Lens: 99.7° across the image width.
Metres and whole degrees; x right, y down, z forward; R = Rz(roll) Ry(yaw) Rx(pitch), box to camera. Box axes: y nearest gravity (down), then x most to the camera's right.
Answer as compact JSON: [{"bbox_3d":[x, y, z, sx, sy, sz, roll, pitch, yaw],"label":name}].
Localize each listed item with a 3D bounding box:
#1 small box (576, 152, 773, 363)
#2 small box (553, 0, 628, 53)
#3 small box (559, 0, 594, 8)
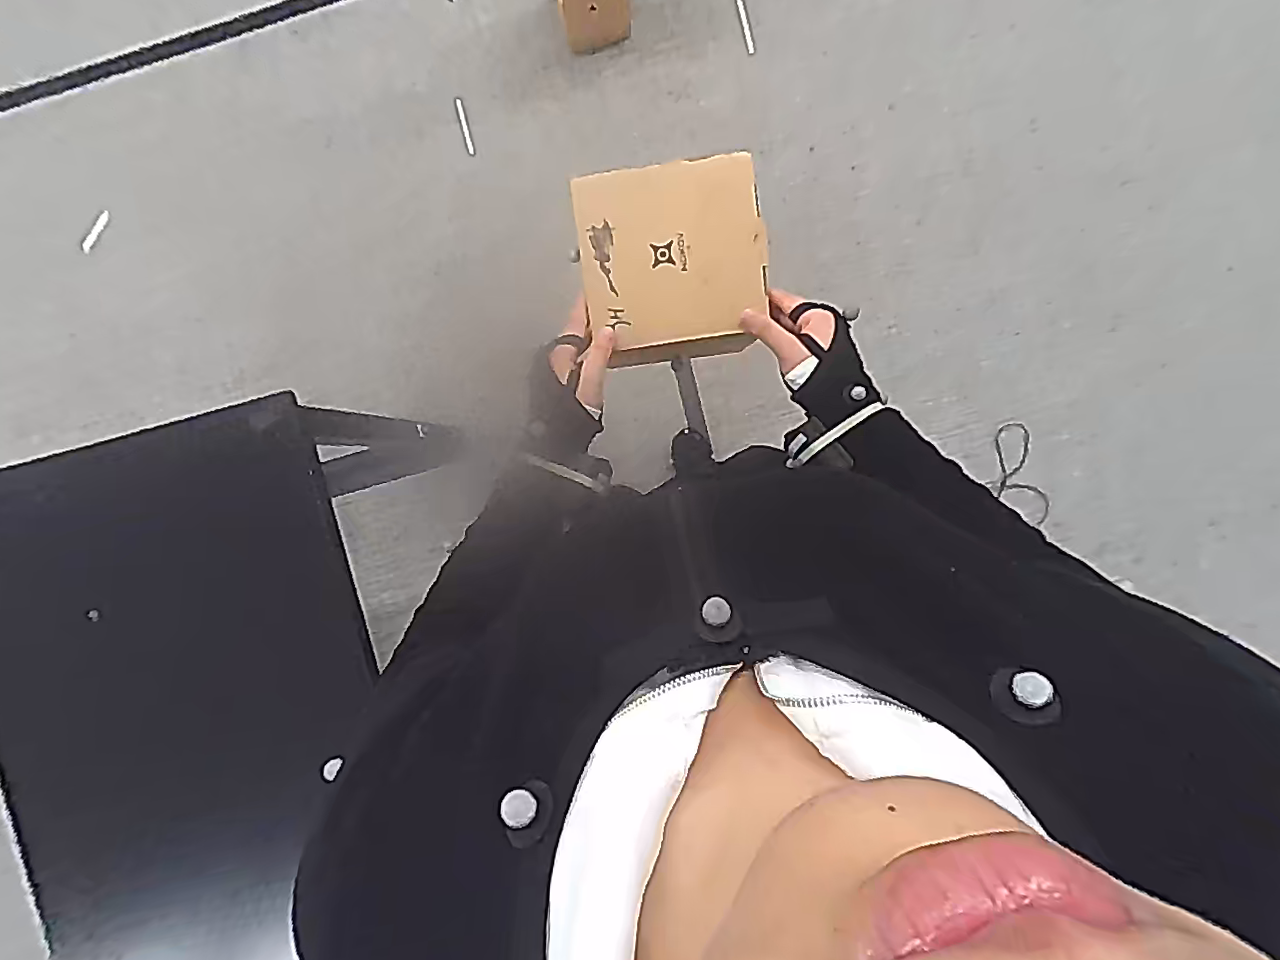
[{"bbox_3d":[0.033,-0.227,0.595,0.179,0.176,0.168,-8,96,0],"label":"small box"},{"bbox_3d":[-0.136,-1.241,1.375,0.179,0.176,0.168,-15,93,1],"label":"small box"},{"bbox_3d":[-0.135,-1.229,1.211,0.168,0.176,0.179,-15,93,2],"label":"small box"}]
